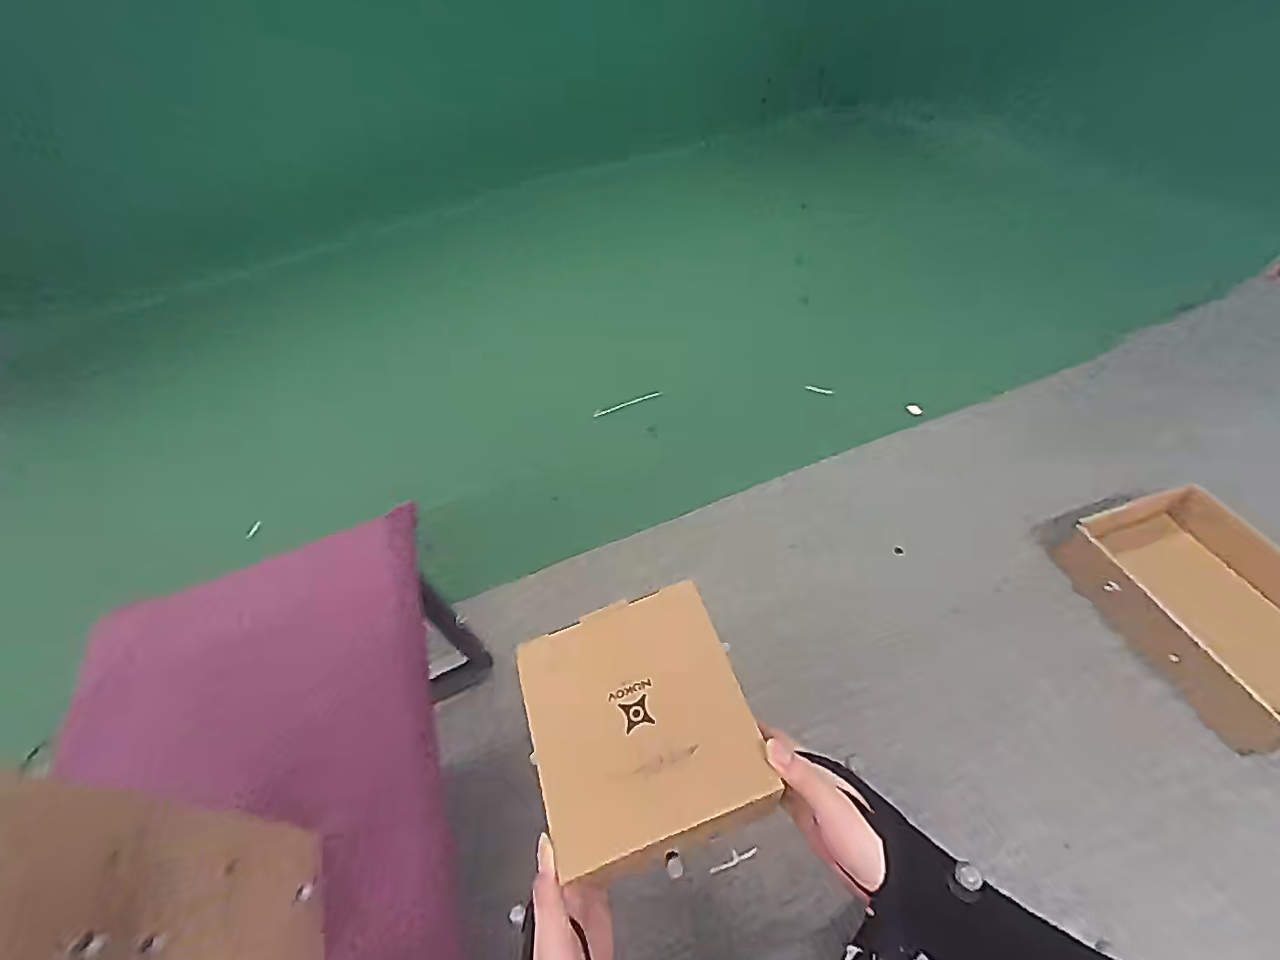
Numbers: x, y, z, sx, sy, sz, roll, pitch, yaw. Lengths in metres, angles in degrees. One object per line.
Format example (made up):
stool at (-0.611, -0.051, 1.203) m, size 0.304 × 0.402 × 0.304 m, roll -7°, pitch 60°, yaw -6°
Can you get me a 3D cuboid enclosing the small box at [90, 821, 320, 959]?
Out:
small box at (-0.534, 0.563, 0.673) m, size 0.179 × 0.176 × 0.168 m, roll -22°, pitch 51°, yaw -9°
